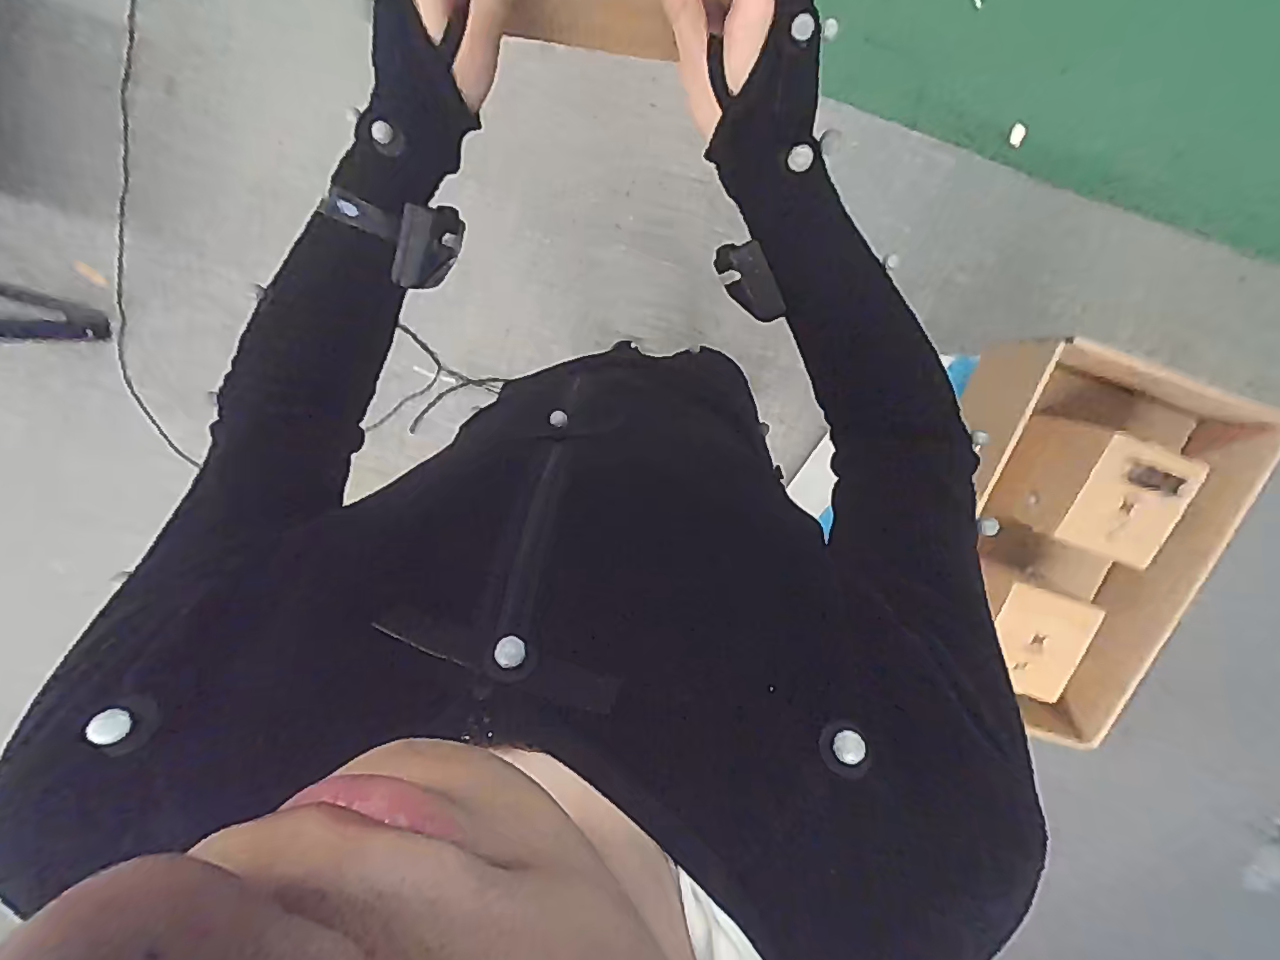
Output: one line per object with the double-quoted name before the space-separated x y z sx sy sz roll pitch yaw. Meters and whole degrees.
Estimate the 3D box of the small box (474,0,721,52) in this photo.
"small box" -0.023 -0.384 0.305 0.179 0.176 0.168 7 103 0
